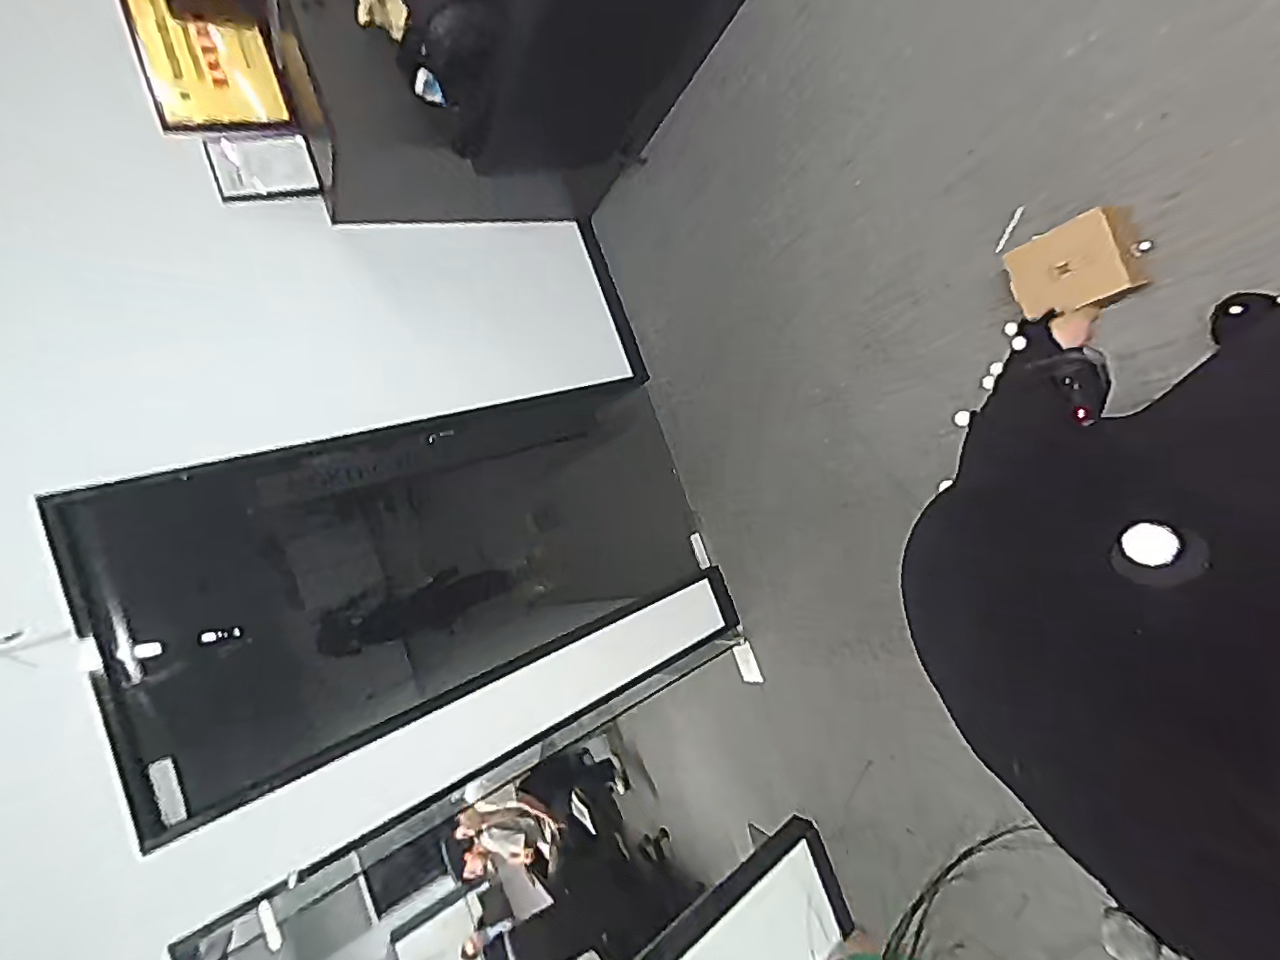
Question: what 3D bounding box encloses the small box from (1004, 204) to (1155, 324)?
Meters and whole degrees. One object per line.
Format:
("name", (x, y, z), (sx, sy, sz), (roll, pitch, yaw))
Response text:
("small box", (0.907, -0.442, 1.118), (0.179, 0.176, 0.168), (-24, 86, 56))
